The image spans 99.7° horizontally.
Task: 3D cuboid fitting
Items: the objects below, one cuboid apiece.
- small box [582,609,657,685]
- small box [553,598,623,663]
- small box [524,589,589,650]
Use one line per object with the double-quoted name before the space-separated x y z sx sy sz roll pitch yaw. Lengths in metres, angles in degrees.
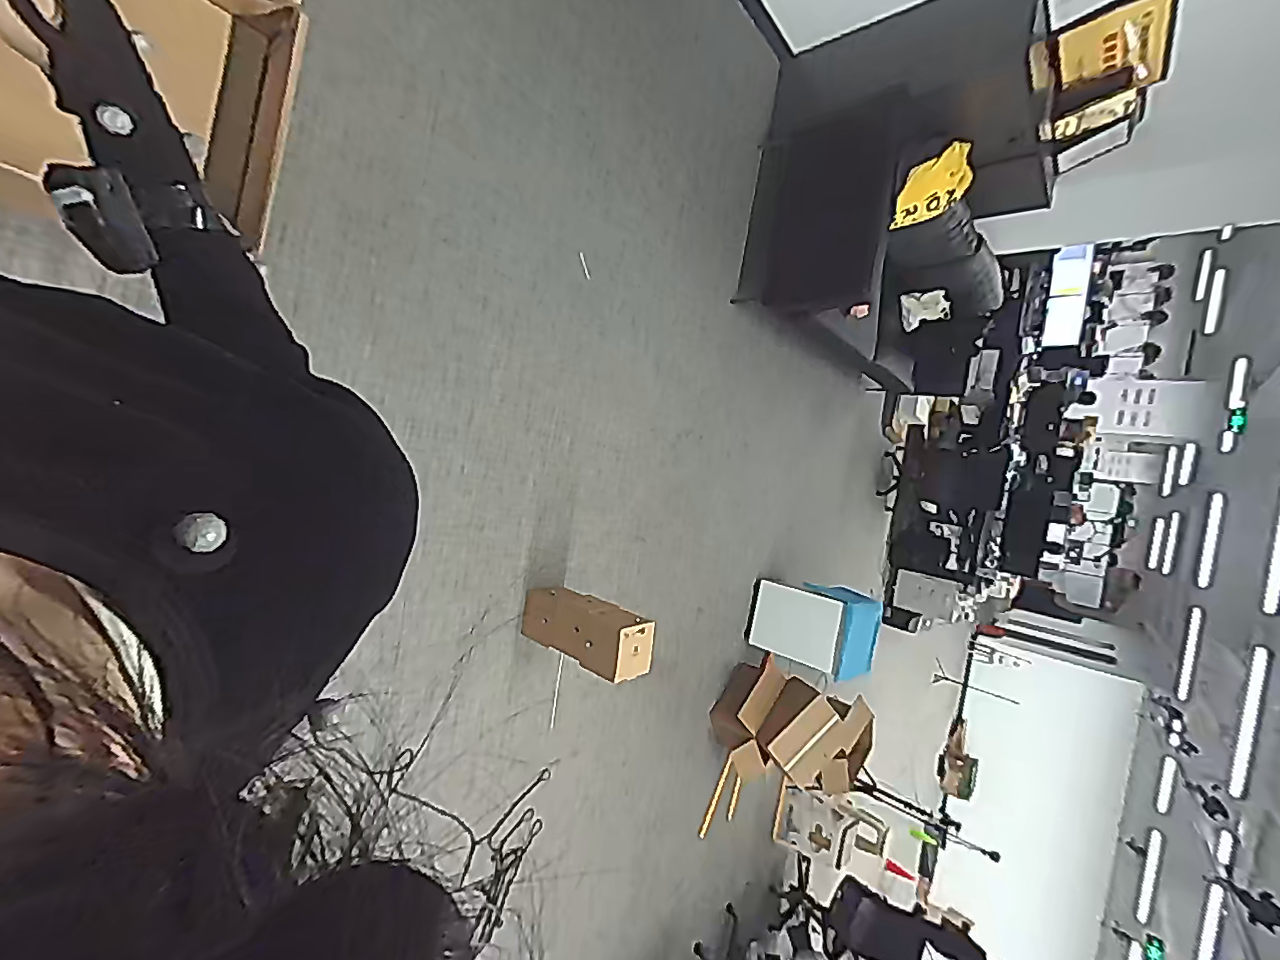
"small box" -0.071 0.539 1.764 0.168 0.176 0.179 5 94 -49
"small box" -0.183 0.515 1.882 0.168 0.176 0.179 8 91 -48
"small box" -0.307 0.505 1.989 0.168 0.176 0.179 8 92 -49
